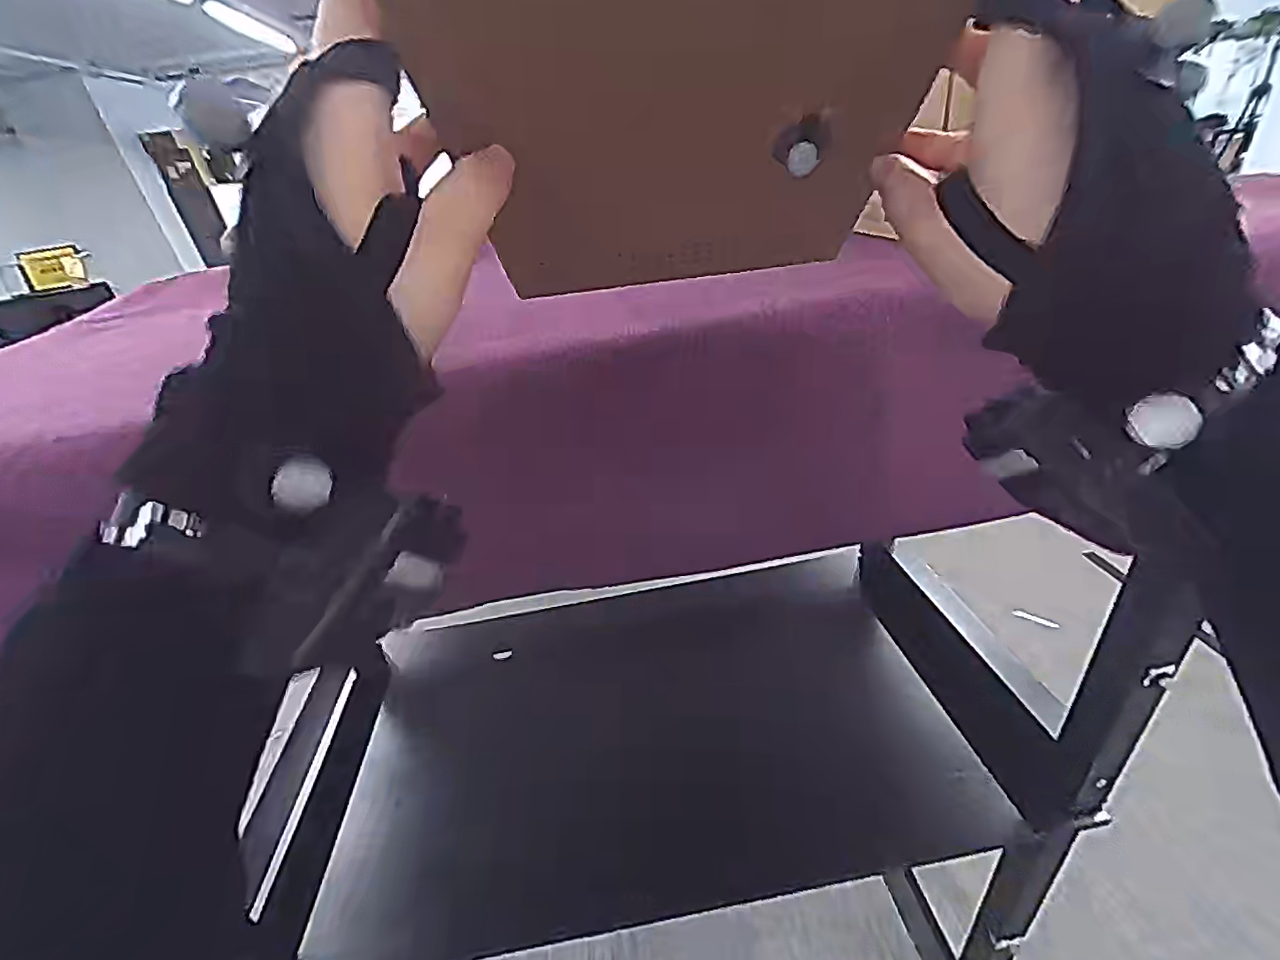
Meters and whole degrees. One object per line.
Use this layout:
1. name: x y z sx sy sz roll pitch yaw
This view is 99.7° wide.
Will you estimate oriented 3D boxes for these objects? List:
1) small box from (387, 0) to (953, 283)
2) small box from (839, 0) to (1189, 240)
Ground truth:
1. small box: 0.008 -0.208 0.229 0.179 0.168 0.176 -7 -13 1
2. small box: 0.286 -0.312 0.455 0.179 0.176 0.168 -11 30 -4
